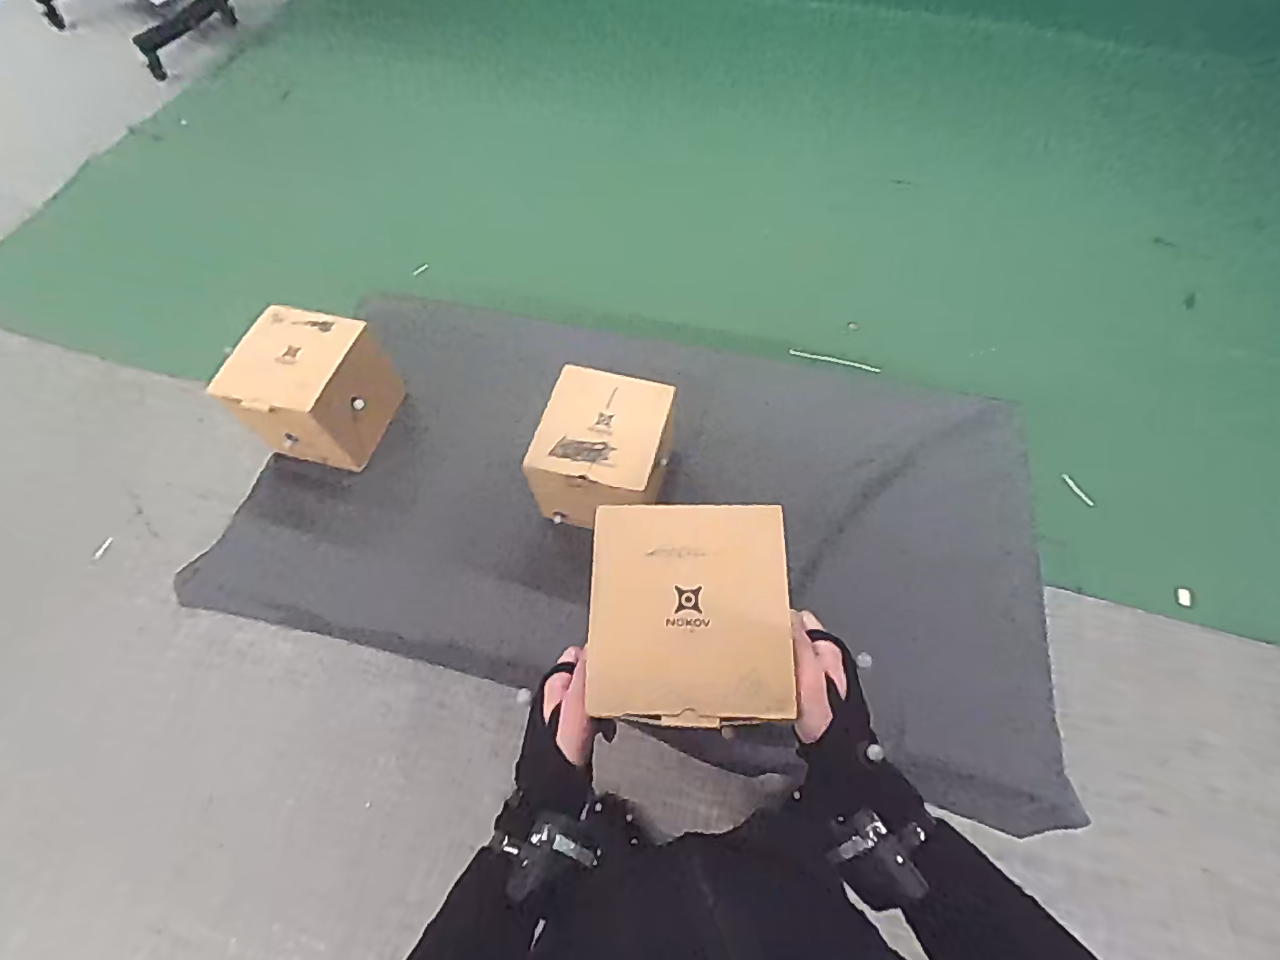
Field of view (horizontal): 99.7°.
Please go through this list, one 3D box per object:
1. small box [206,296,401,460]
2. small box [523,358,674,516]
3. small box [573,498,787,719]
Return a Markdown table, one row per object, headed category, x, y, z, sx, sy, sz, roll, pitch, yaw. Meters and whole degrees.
| category | x | y | z | sx | sy | sz | roll | pitch | yaw |
| --- | --- | --- | --- | --- | --- | --- | --- | --- | --- |
| small box | -0.508 | -0.153 | 0.852 | 0.168 | 0.176 | 0.179 | 13 | 65 | 5 |
| small box | -0.050 | -0.045 | 0.793 | 0.168 | 0.176 | 0.179 | 14 | 63 | 7 |
| small box | 0.036 | 0.127 | 0.512 | 0.168 | 0.176 | 0.179 | 0 | 66 | 3 |
